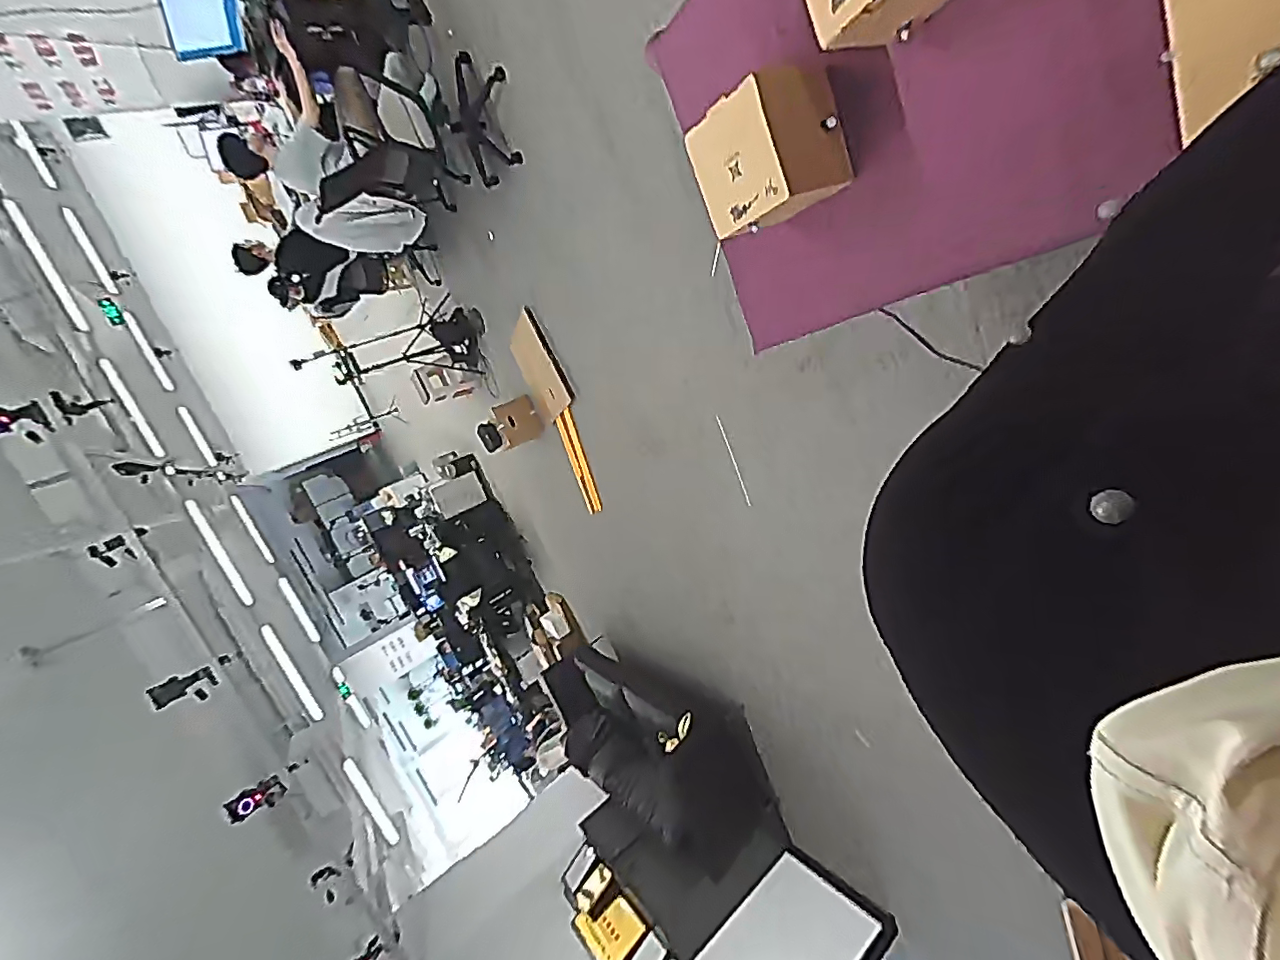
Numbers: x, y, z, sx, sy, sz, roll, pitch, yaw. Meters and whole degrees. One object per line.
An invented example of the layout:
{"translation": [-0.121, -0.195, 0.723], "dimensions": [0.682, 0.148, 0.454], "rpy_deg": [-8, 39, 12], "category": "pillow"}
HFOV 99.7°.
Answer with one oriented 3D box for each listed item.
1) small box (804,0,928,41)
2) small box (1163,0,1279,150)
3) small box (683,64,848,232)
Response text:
{"translation": [0.293, -0.659, 0.625], "dimensions": [0.168, 0.176, 0.179], "rpy_deg": [-3, 111, 59], "category": "small box"}
{"translation": [0.555, -0.399, 0.431], "dimensions": [0.168, 0.176, 0.179], "rpy_deg": [1, 115, 58], "category": "small box"}
{"translation": [0.204, -0.534, 0.877], "dimensions": [0.168, 0.176, 0.179], "rpy_deg": [1, 115, 60], "category": "small box"}
